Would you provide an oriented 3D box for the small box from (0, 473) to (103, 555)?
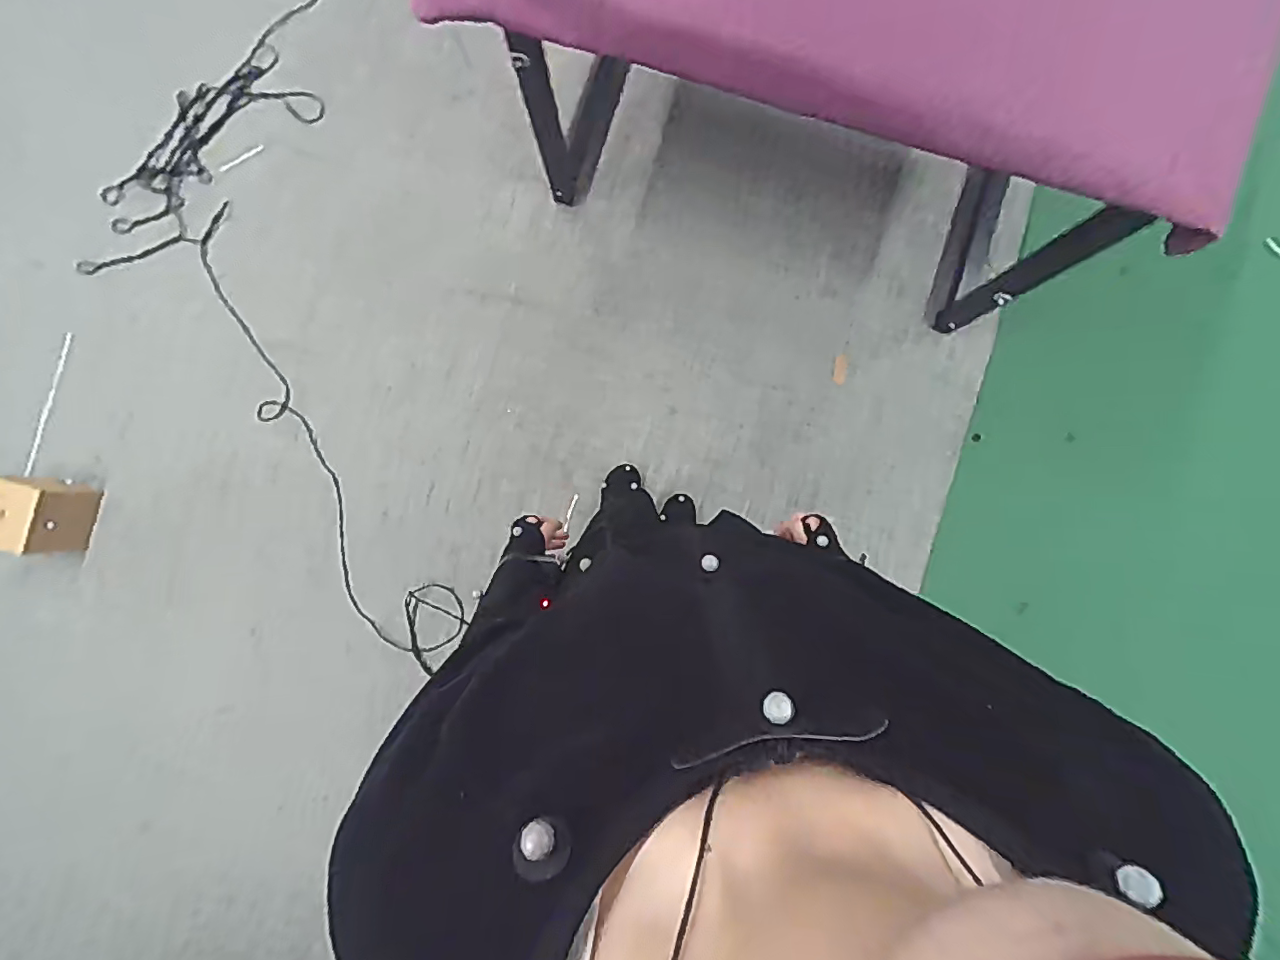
[{"bbox_3d":[-1.618,0.089,1.455,0.168,0.176,0.179,16,88,1],"label":"small box"}]
